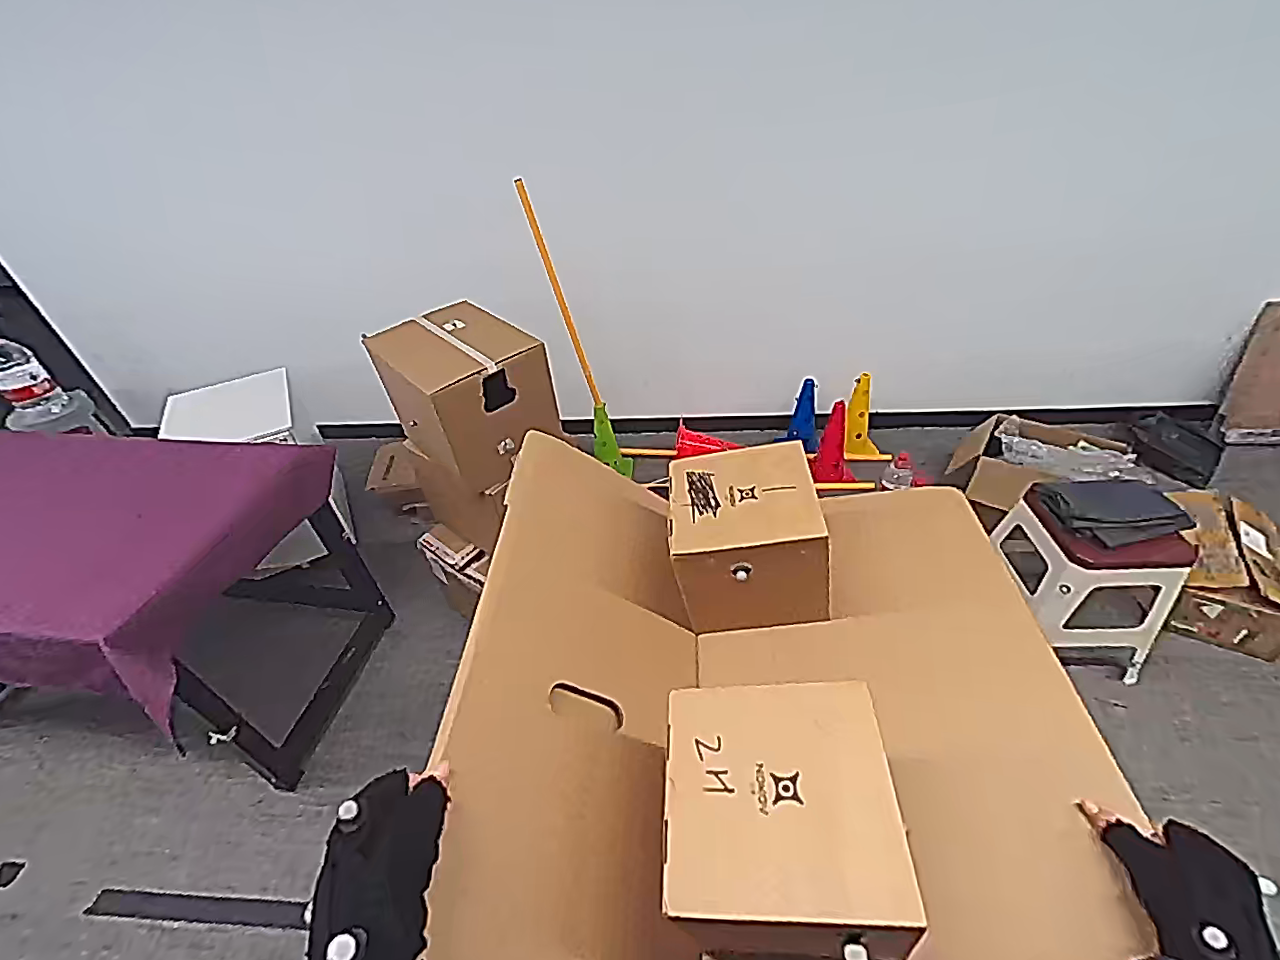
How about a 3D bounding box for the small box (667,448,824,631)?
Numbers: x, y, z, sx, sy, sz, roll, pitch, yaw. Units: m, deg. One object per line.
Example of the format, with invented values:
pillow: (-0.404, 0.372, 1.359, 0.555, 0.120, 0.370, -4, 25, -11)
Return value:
small box: (0.138, 0.084, 0.714, 0.179, 0.176, 0.168, -9, 42, 10)
